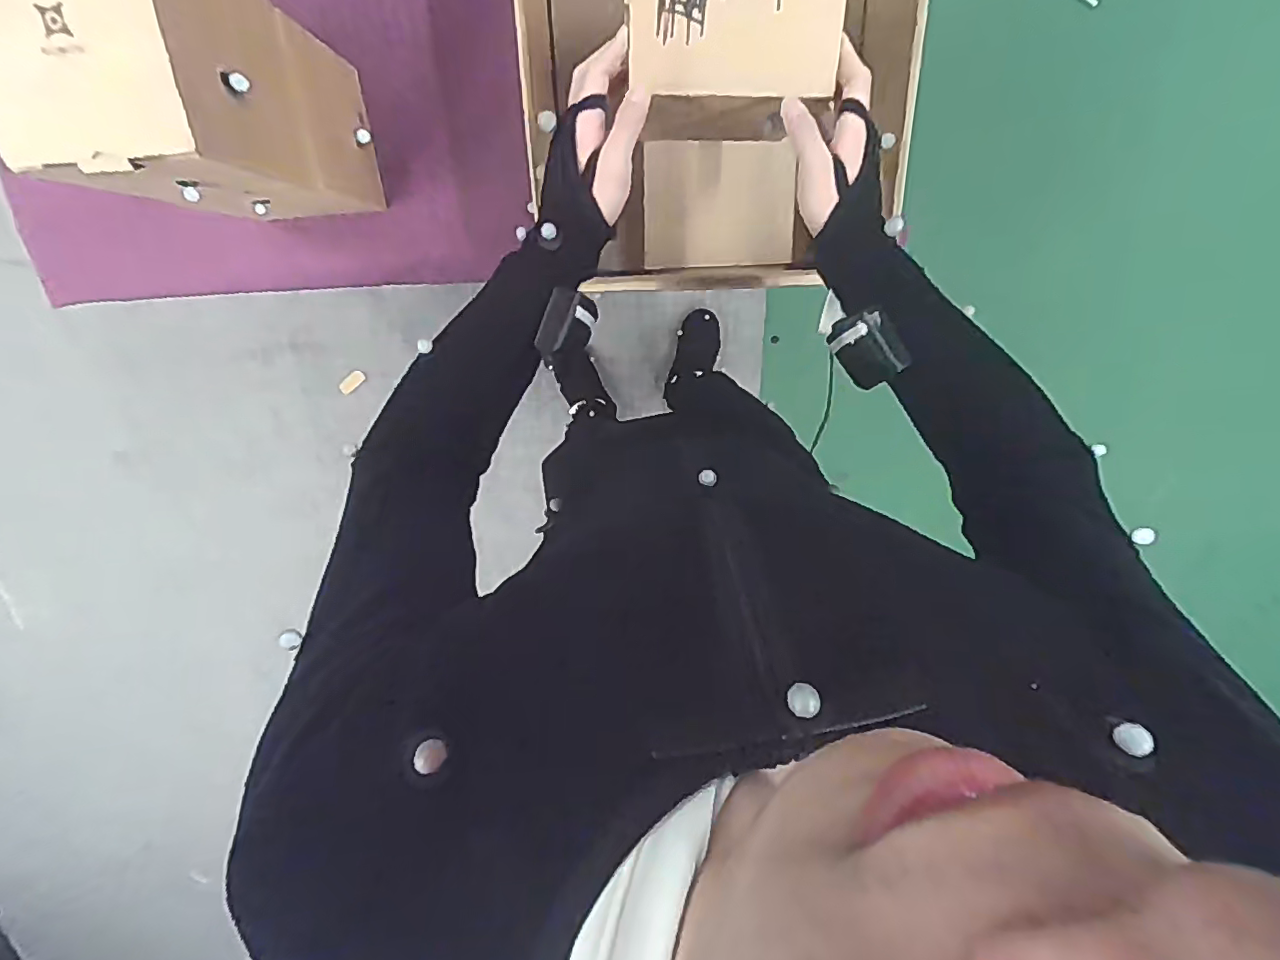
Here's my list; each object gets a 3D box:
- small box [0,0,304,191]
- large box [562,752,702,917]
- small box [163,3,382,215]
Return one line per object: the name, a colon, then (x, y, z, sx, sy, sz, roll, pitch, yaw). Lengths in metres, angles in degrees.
small box: (-0.442, -0.367, 0.486, 0.168, 0.176, 0.179, -3, 110, 1)
large box: (-0.029, 1.306, 2.010, 0.408, 0.320, 0.320, -31, 108, 10)
small box: (-0.442, -0.419, 0.641, 0.179, 0.176, 0.168, -4, 110, 1)
